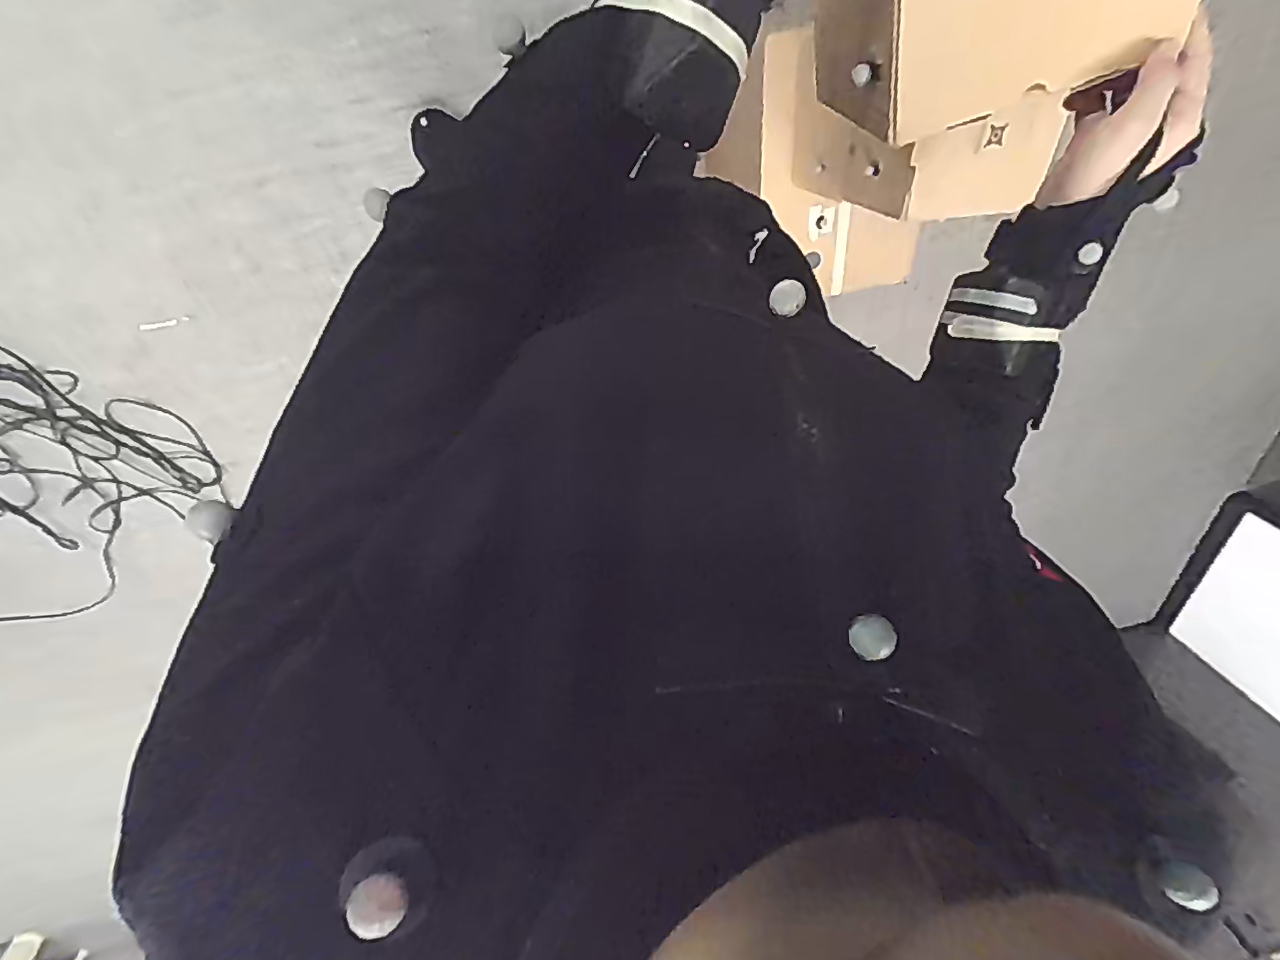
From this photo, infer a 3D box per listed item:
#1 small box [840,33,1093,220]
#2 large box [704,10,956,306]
[{"bbox_3d":[0.369,-0.427,0.654,0.179,0.176,0.168,-10,129,-8],"label":"small box"},{"bbox_3d":[0.320,-0.602,1.028,0.320,0.320,0.408,-11,128,-4],"label":"large box"}]
